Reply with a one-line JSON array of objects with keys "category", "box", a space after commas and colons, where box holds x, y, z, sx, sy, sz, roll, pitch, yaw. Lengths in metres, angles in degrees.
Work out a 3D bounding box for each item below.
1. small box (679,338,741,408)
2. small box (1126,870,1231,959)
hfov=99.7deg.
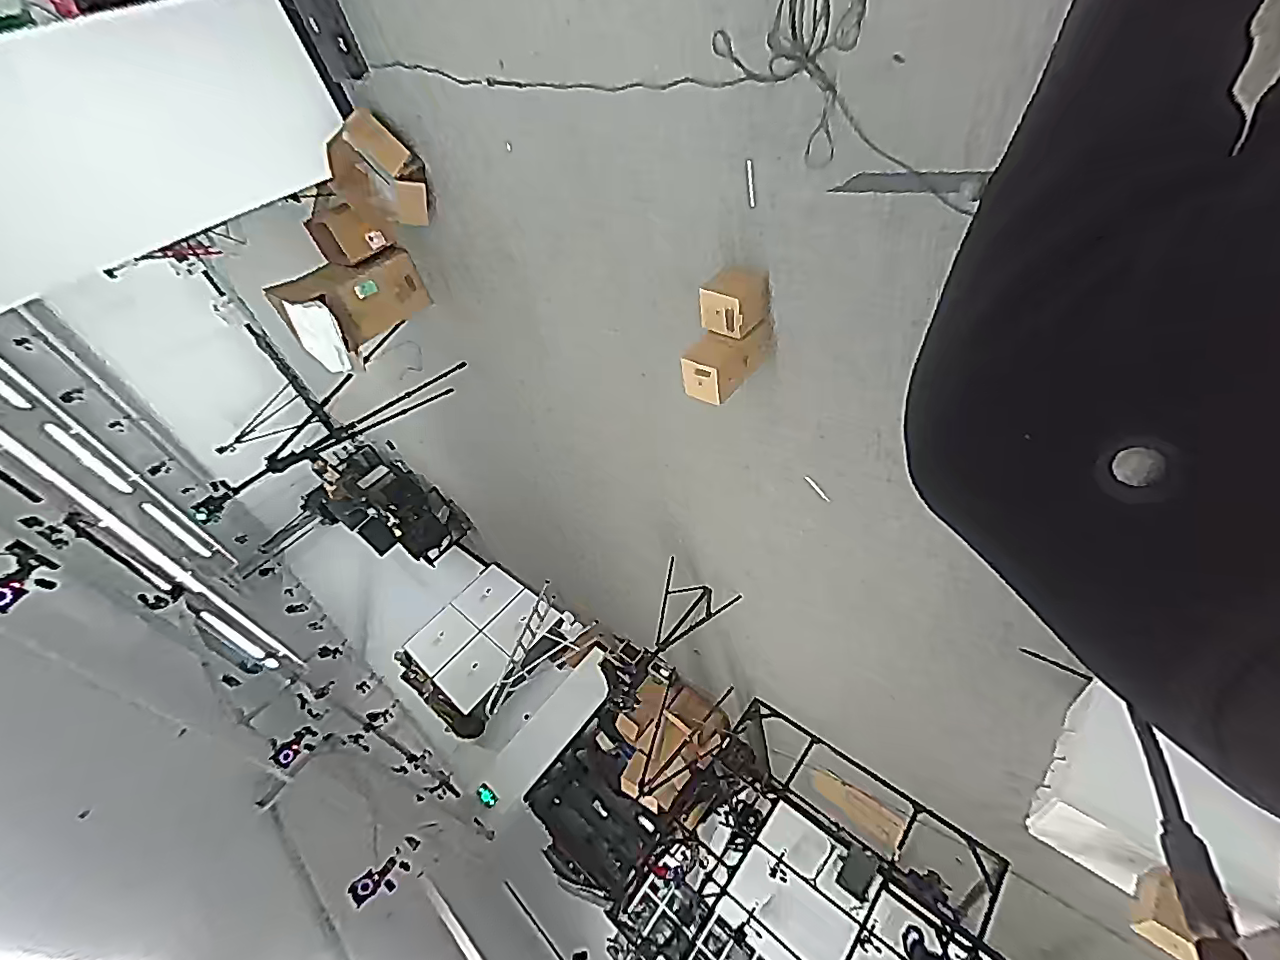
[{"category": "small box", "box": [0.271, -0.410, 2.048, 0.168, 0.176, 0.179, 28, 150, 33]}, {"category": "small box", "box": [1.601, 1.309, 1.608, 0.168, 0.176, 0.179, 24, 147, 34]}]
